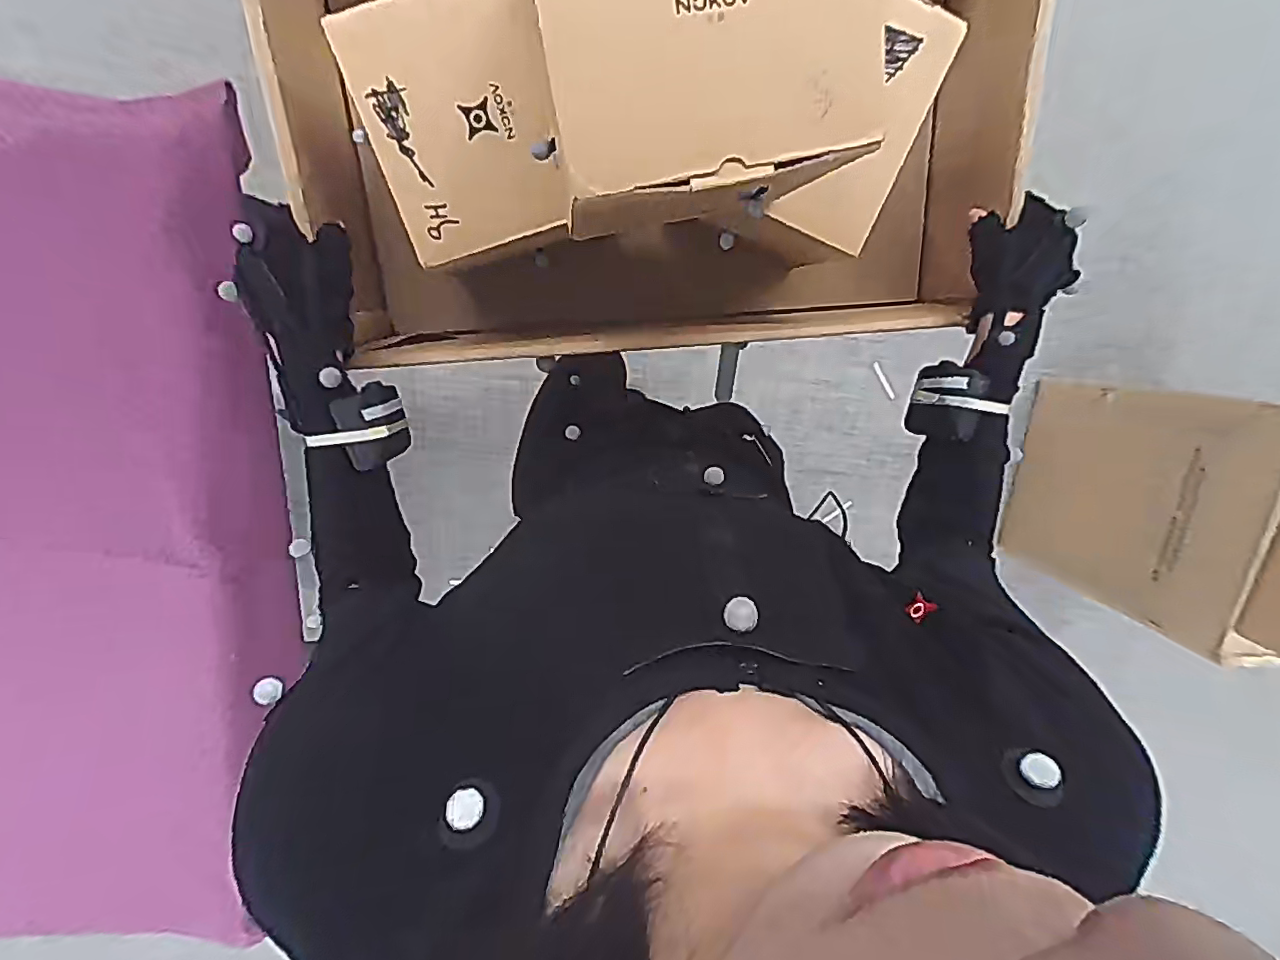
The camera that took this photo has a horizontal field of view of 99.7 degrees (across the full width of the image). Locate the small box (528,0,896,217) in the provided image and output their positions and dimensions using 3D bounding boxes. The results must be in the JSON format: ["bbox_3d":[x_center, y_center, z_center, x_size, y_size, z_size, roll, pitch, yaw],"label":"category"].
[{"bbox_3d":[0.024,-0.264,0.312,0.168,0.176,0.179,-12,108,-4],"label":"small box"}]
